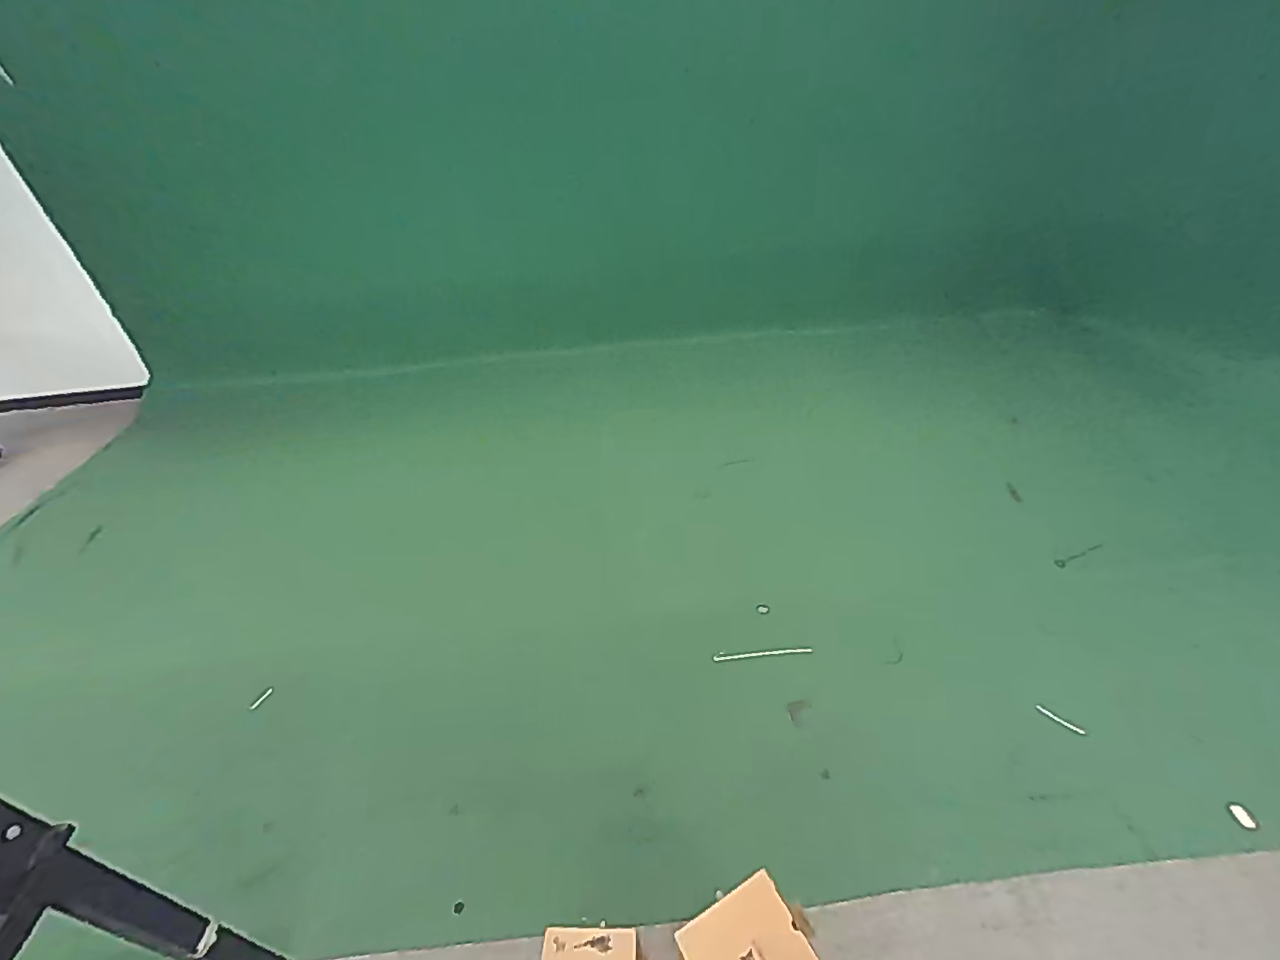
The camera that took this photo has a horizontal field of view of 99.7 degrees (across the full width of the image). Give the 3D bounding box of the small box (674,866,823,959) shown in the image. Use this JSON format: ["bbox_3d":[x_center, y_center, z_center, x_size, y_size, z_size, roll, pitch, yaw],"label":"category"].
[{"bbox_3d":[0.169,0.753,0.832,0.179,0.176,0.168,-21,42,-20],"label":"small box"}]

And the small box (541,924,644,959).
[{"bbox_3d":[-0.082,0.902,0.934,0.168,0.176,0.179,-3,38,5],"label":"small box"}]
